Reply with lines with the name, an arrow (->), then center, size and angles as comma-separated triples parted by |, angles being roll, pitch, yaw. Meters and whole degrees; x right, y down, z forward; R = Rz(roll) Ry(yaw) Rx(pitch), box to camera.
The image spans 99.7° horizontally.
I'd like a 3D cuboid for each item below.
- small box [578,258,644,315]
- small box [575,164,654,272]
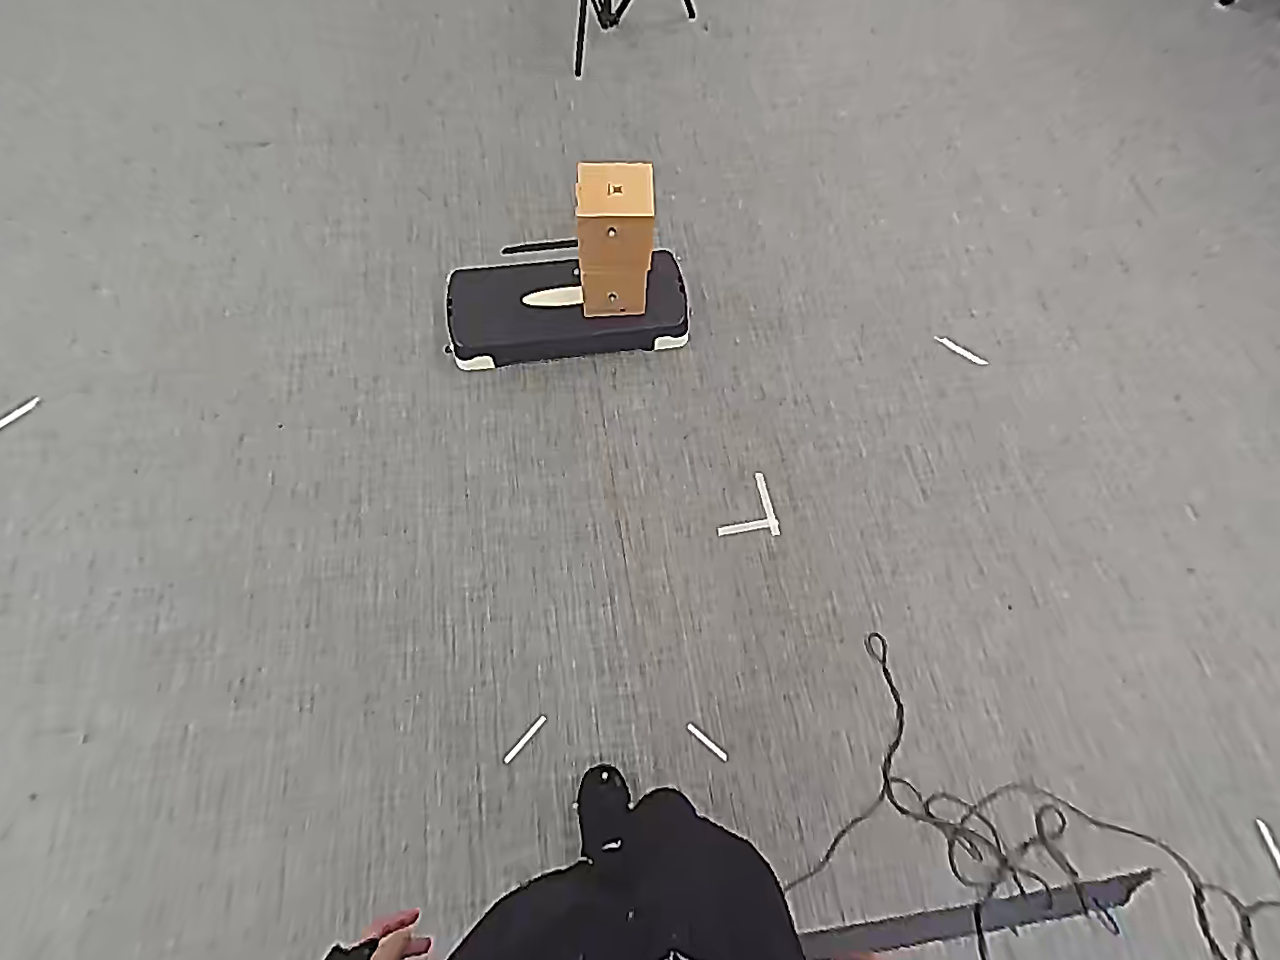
small box -> -0.077, -0.556, 1.438 | 0.168, 0.176, 0.179 | -4, 68, -4
small box -> -0.061, -0.618, 1.288 | 0.179, 0.176, 0.168 | -1, 69, -2
